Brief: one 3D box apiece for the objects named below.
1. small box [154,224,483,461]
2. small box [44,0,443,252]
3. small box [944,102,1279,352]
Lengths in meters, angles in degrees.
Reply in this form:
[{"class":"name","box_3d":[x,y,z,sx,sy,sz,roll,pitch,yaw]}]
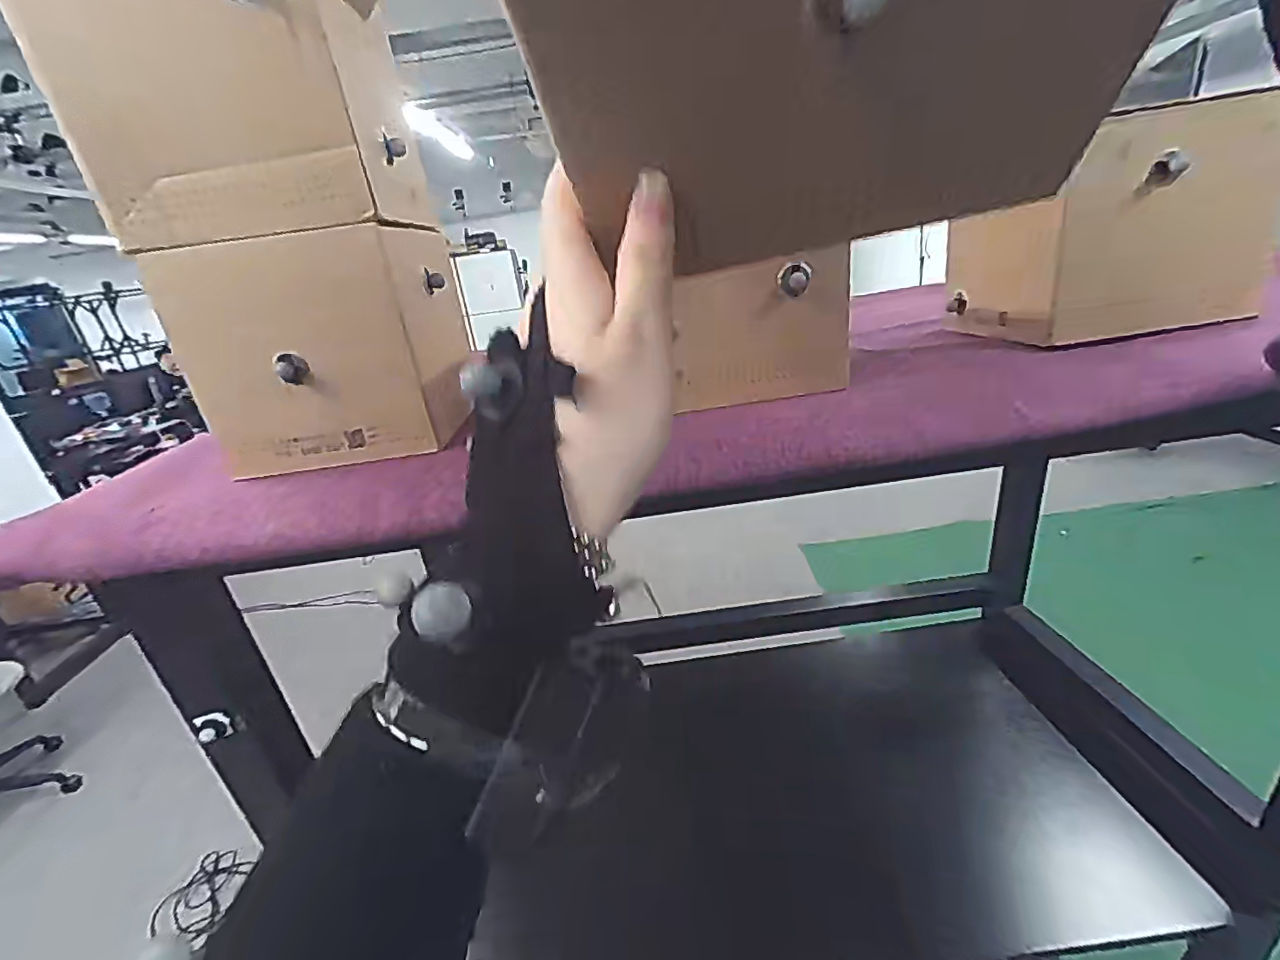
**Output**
[{"class":"small box","box_3d":[-0.249,-0.119,0.477,0.168,0.176,0.179,-7,22,-2]},{"class":"small box","box_3d":[-0.273,-0.267,0.413,0.179,0.176,0.168,-8,23,-4]},{"class":"small box","box_3d":[0.413,-0.220,0.508,0.179,0.176,0.168,-7,20,1]}]
